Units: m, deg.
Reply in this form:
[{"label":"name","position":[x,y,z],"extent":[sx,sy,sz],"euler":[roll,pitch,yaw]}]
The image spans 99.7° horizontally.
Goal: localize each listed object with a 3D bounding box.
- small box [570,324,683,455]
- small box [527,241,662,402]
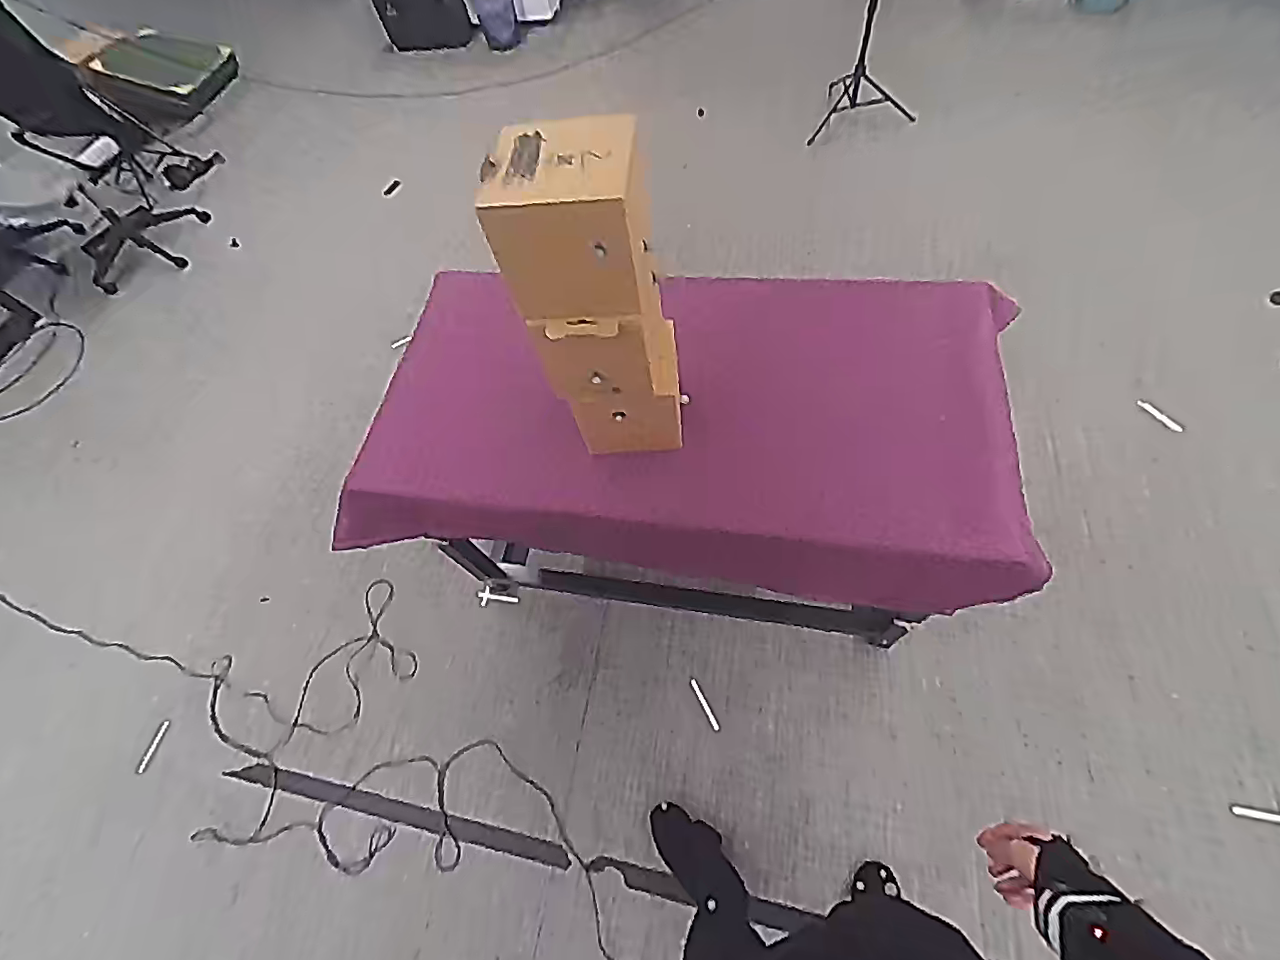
[{"label":"small box","position":[-0.017,-0.156,0.980],"extent":[0.179,0.176,0.168],"euler":[-4,61,6]},{"label":"small box","position":[-0.059,-0.242,0.844],"extent":[0.168,0.176,0.179],"euler":[1,61,10]}]
